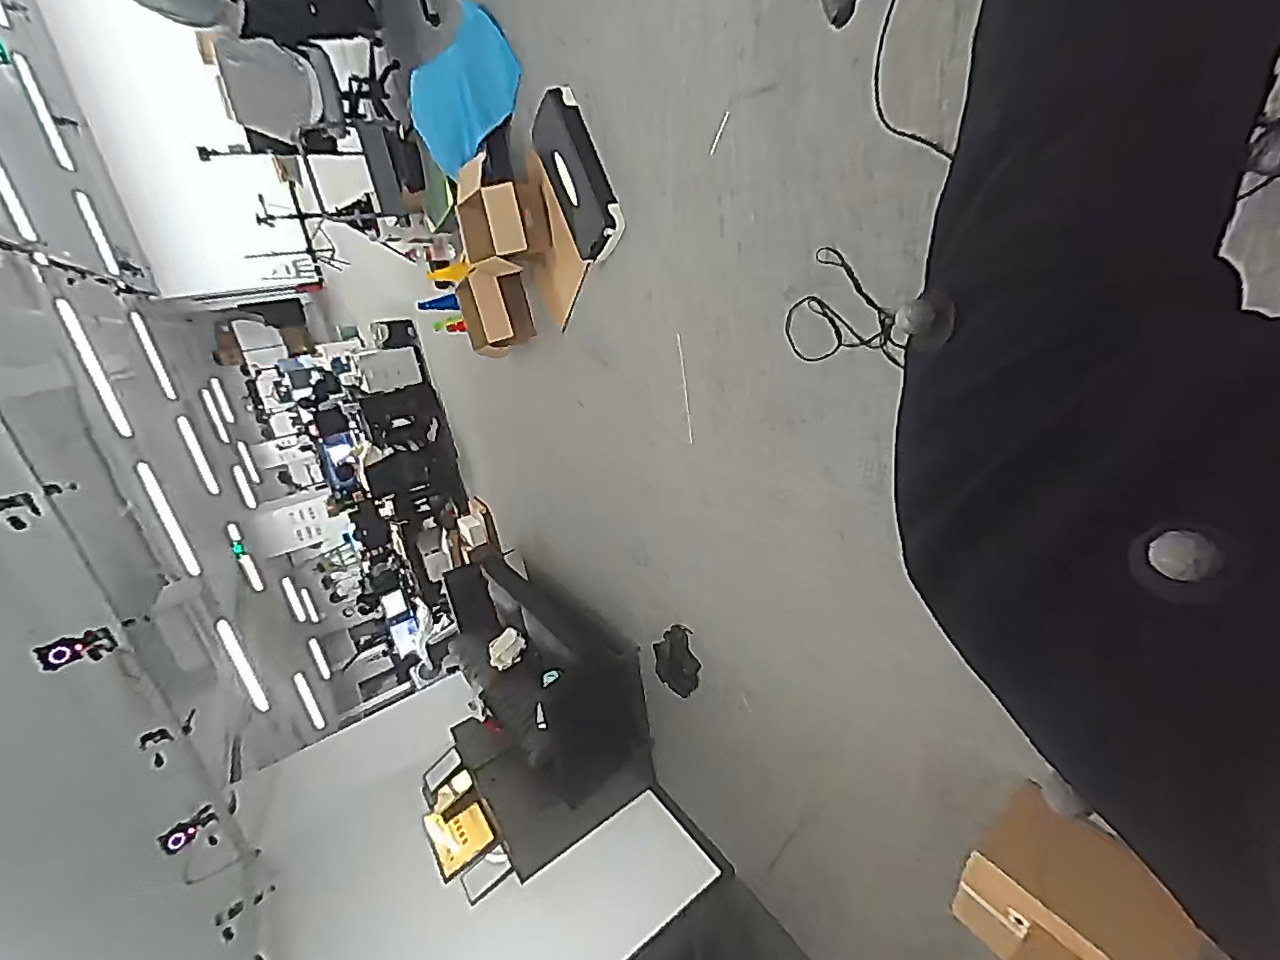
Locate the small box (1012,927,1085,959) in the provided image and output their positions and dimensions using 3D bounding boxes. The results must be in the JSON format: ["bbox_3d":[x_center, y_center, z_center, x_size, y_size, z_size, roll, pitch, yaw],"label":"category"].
[{"bbox_3d":[0.943,1.175,1.228,0.179,0.176,0.168,30,134,47],"label":"small box"}]

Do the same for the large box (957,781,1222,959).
[{"bbox_3d":[1.118,1.090,1.380,0.408,0.320,0.320,31,133,49],"label":"large box"}]
